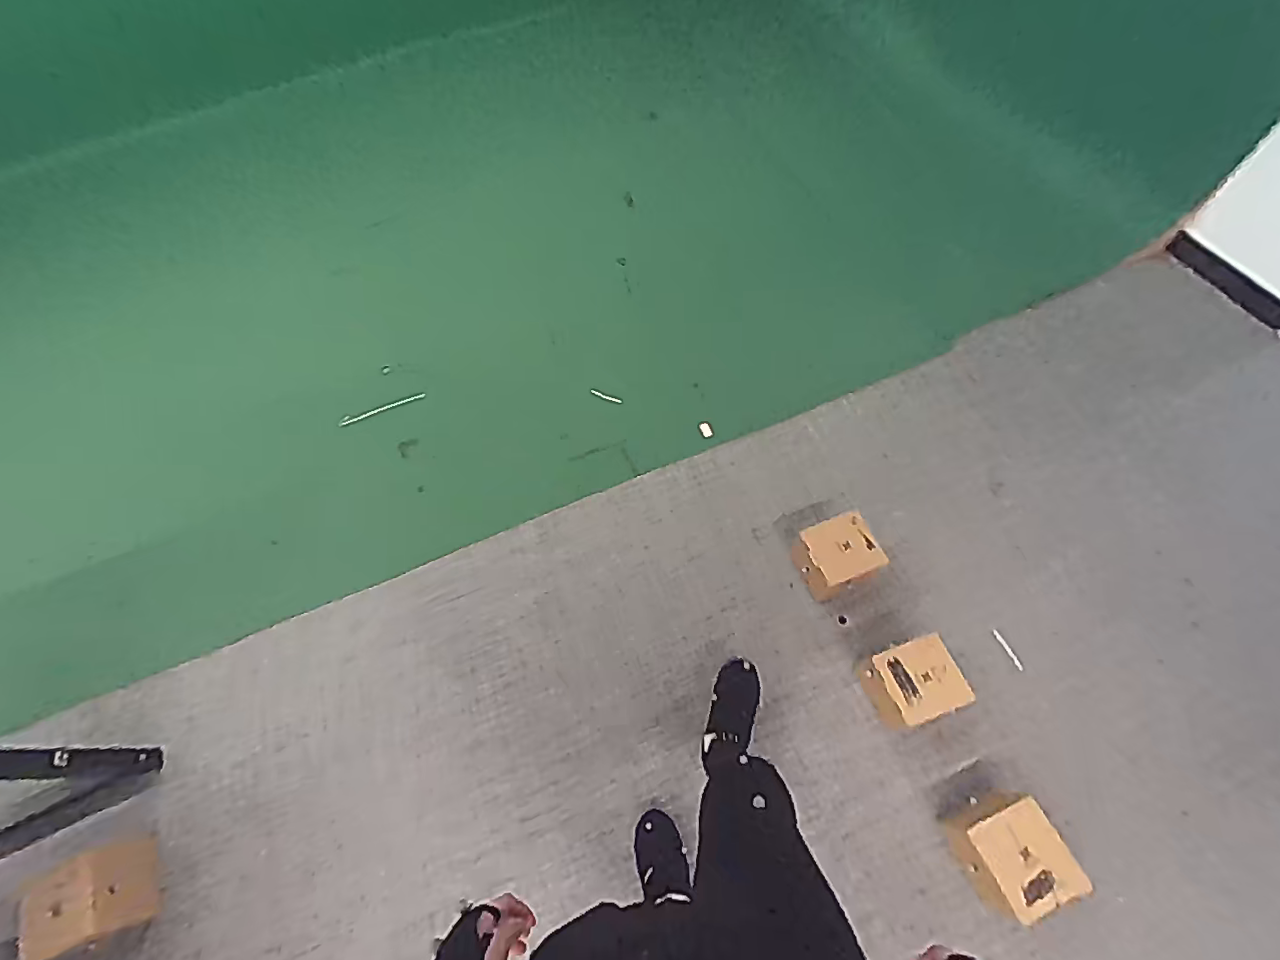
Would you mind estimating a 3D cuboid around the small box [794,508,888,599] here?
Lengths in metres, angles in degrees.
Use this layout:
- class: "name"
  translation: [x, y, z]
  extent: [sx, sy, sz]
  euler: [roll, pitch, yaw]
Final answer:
- class: "small box"
  translation: [0.536, 0.206, 1.477]
  extent: [0.179, 0.176, 0.168]
  euler: [-21, 63, -4]

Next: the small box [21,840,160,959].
- class: "small box"
  translation: [-1.290, 0.993, 1.282]
  extent: [0.168, 0.176, 0.179]
  euler: [-26, 64, -7]

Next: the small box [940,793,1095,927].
- class: "small box"
  translation: [0.788, 0.794, 1.150]
  extent: [0.168, 0.176, 0.179]
  euler: [-23, 63, -6]
